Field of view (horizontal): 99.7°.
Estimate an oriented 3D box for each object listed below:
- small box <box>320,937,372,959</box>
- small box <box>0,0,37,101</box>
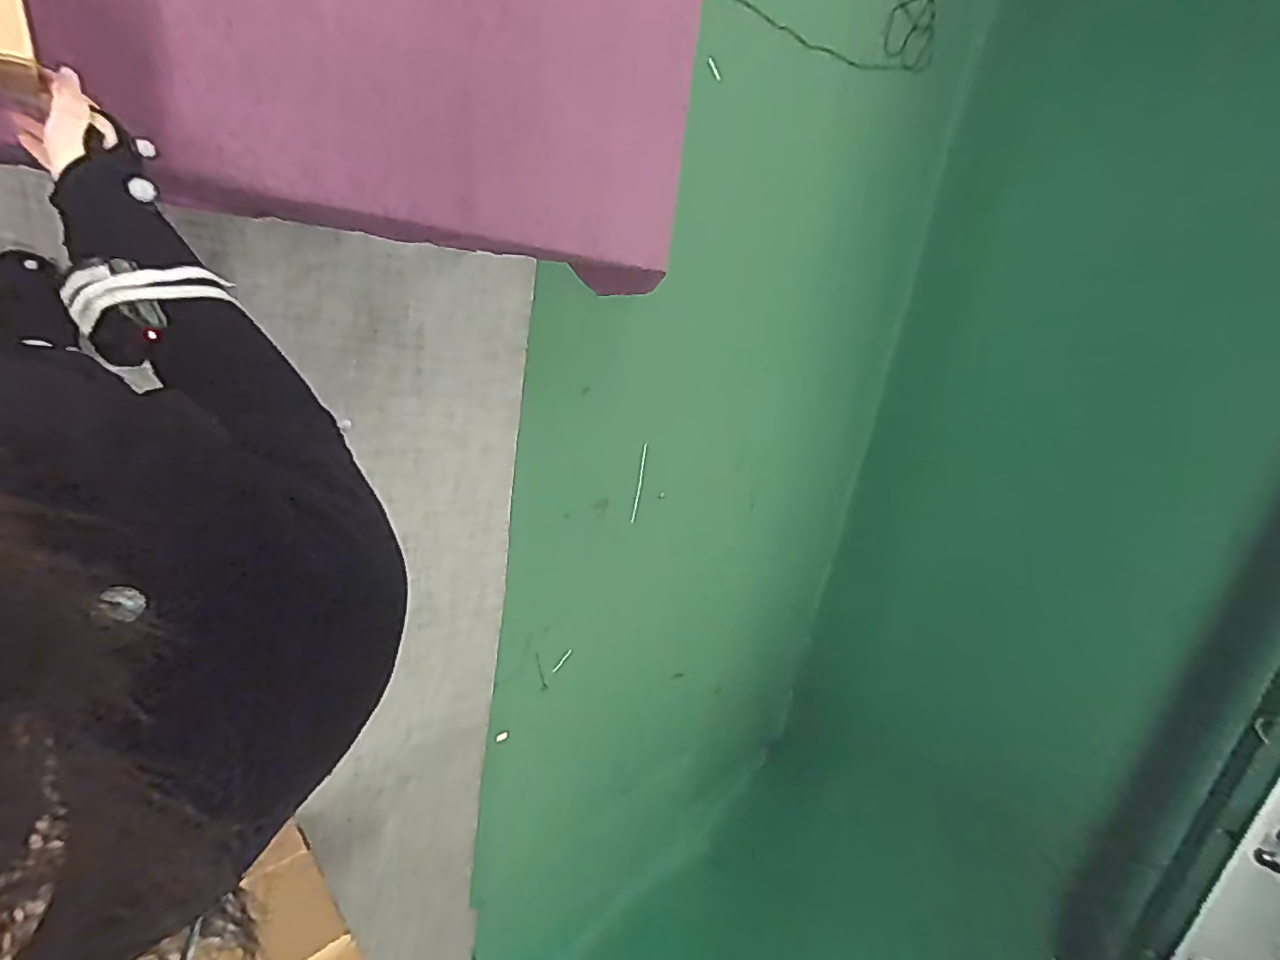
[{"bbox_3d":[-0.735,1.289,1.317,0.168,0.176,0.179,-7,111,-45],"label":"small box"},{"bbox_3d":[-0.520,-0.368,0.339,0.168,0.176,0.179,-15,117,-44],"label":"small box"}]
